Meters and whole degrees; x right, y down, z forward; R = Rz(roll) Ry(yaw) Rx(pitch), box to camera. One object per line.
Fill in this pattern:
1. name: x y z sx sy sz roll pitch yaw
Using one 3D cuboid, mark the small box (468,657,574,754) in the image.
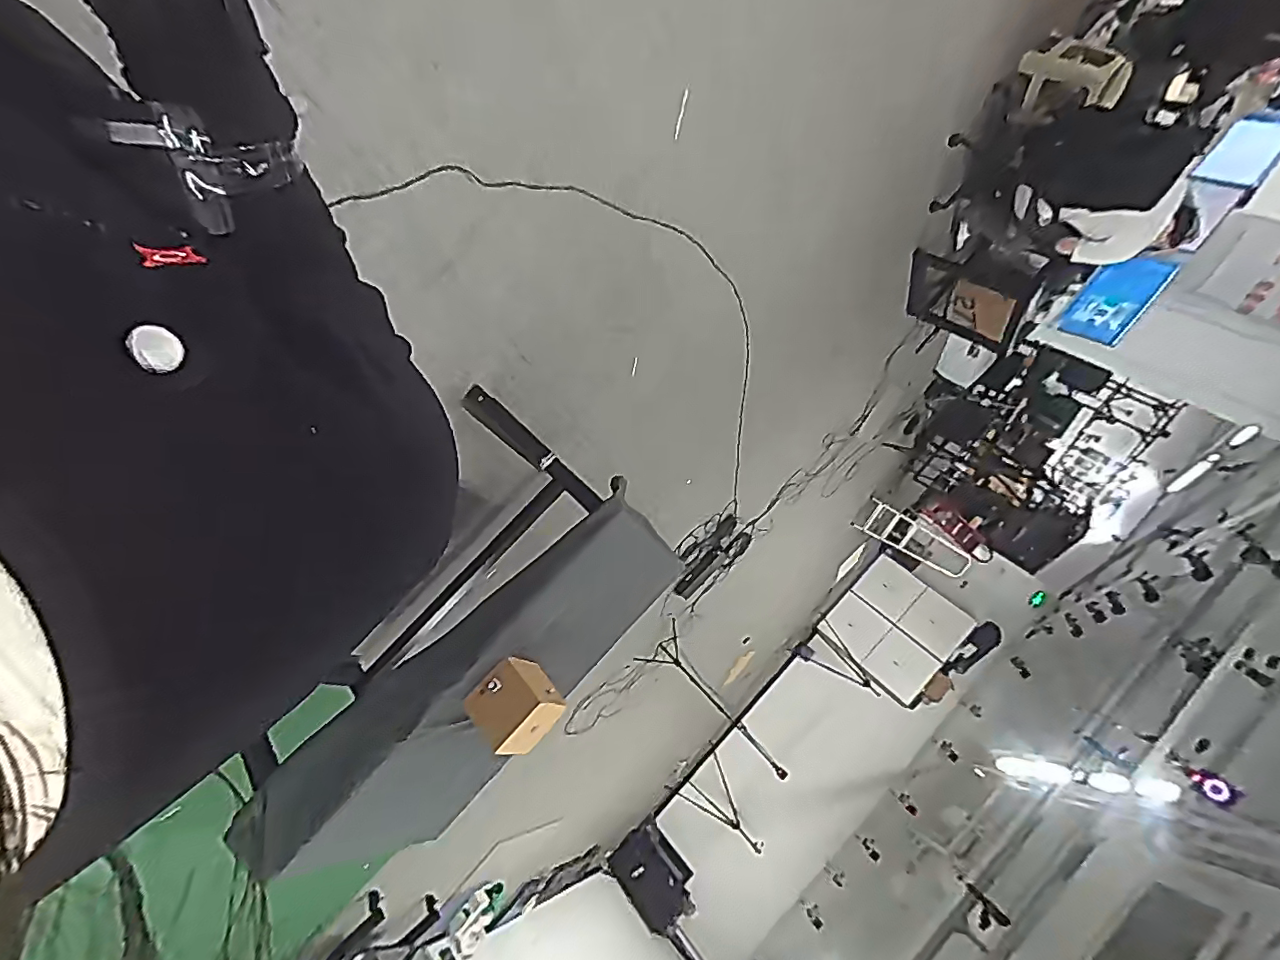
1. small box: -0.311 0.589 1.419 0.168 0.176 0.179 -48 148 -6
